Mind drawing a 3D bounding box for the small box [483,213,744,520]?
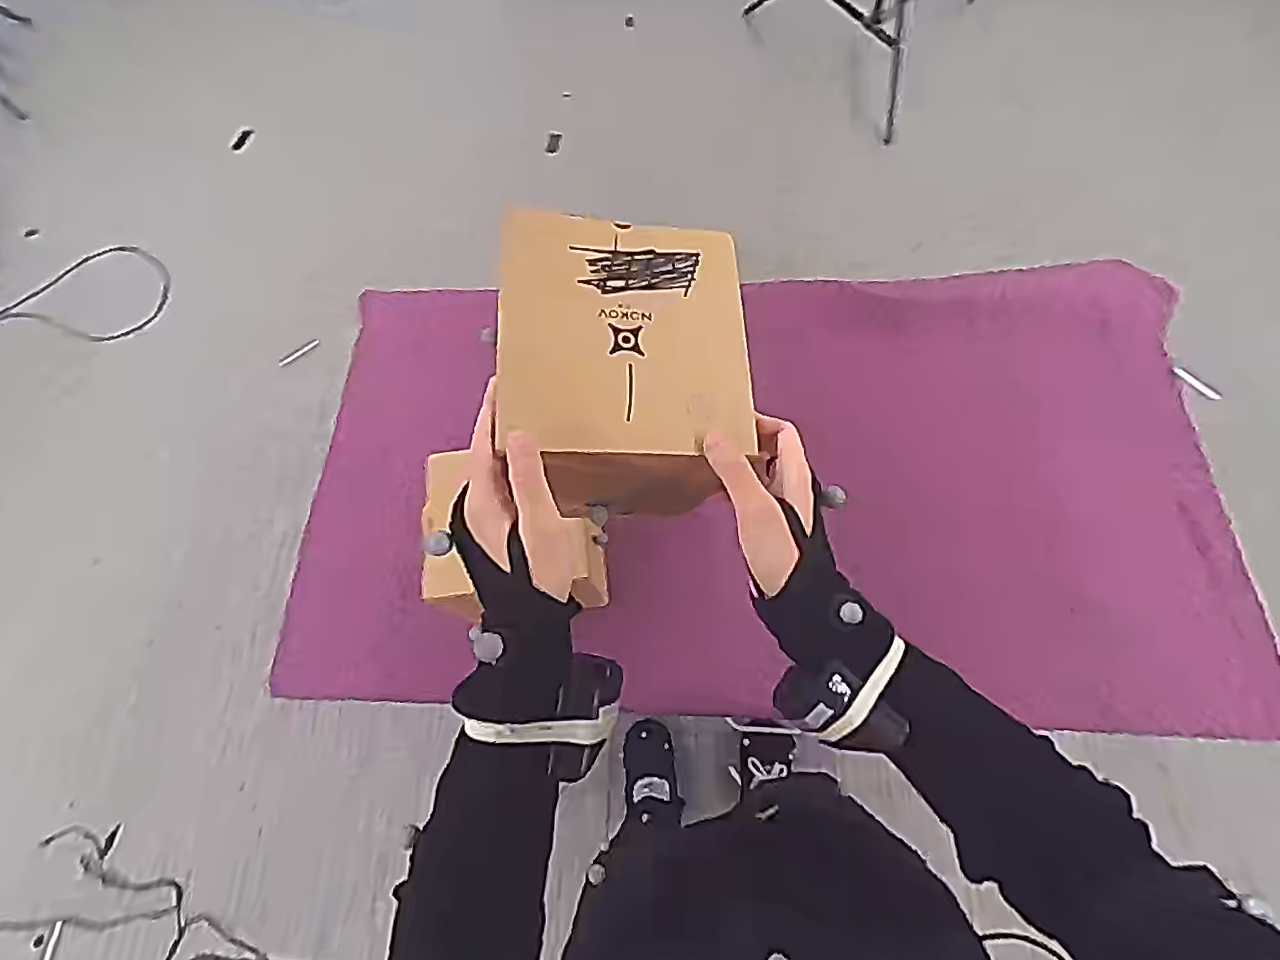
[{"bbox_3d":[-0.034,-0.072,0.428,0.168,0.176,0.179,0,74,-12],"label":"small box"}]

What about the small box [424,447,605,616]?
[{"bbox_3d":[-0.140,0.065,0.657,0.179,0.176,0.168,-8,68,2],"label":"small box"}]
